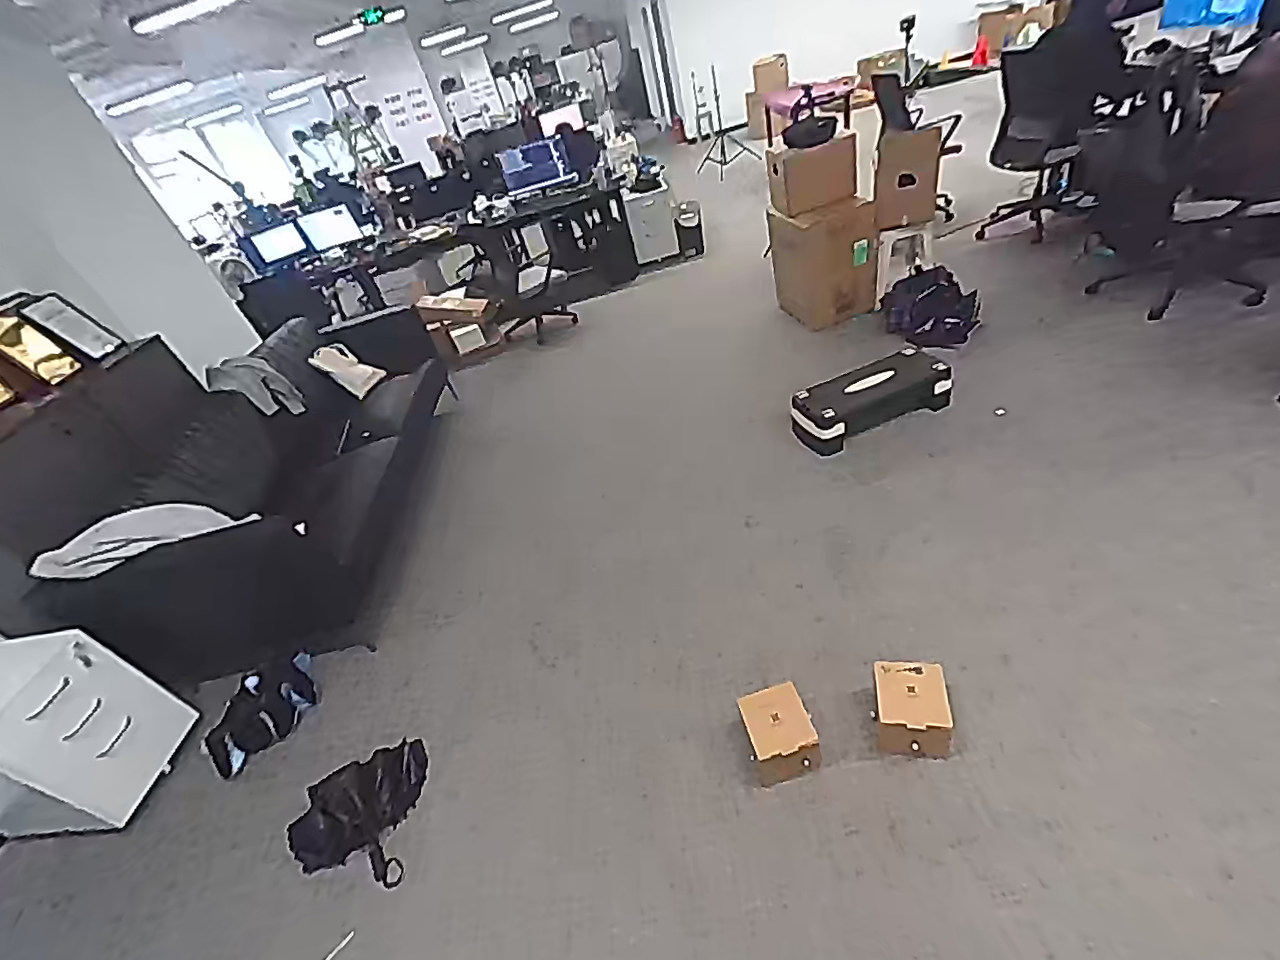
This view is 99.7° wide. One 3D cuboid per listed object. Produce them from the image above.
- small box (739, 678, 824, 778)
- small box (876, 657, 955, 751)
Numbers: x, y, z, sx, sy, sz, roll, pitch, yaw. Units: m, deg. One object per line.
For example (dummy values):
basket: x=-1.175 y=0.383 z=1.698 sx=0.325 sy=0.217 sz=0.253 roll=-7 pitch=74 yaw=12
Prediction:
small box: x=0.386 y=0.681 z=1.469 sx=0.168 sy=0.176 sz=0.179 roll=-19 pitch=36 yaw=-1
small box: x=0.723 y=0.593 z=1.428 sx=0.168 sy=0.176 sz=0.179 roll=-4 pitch=40 yaw=20
